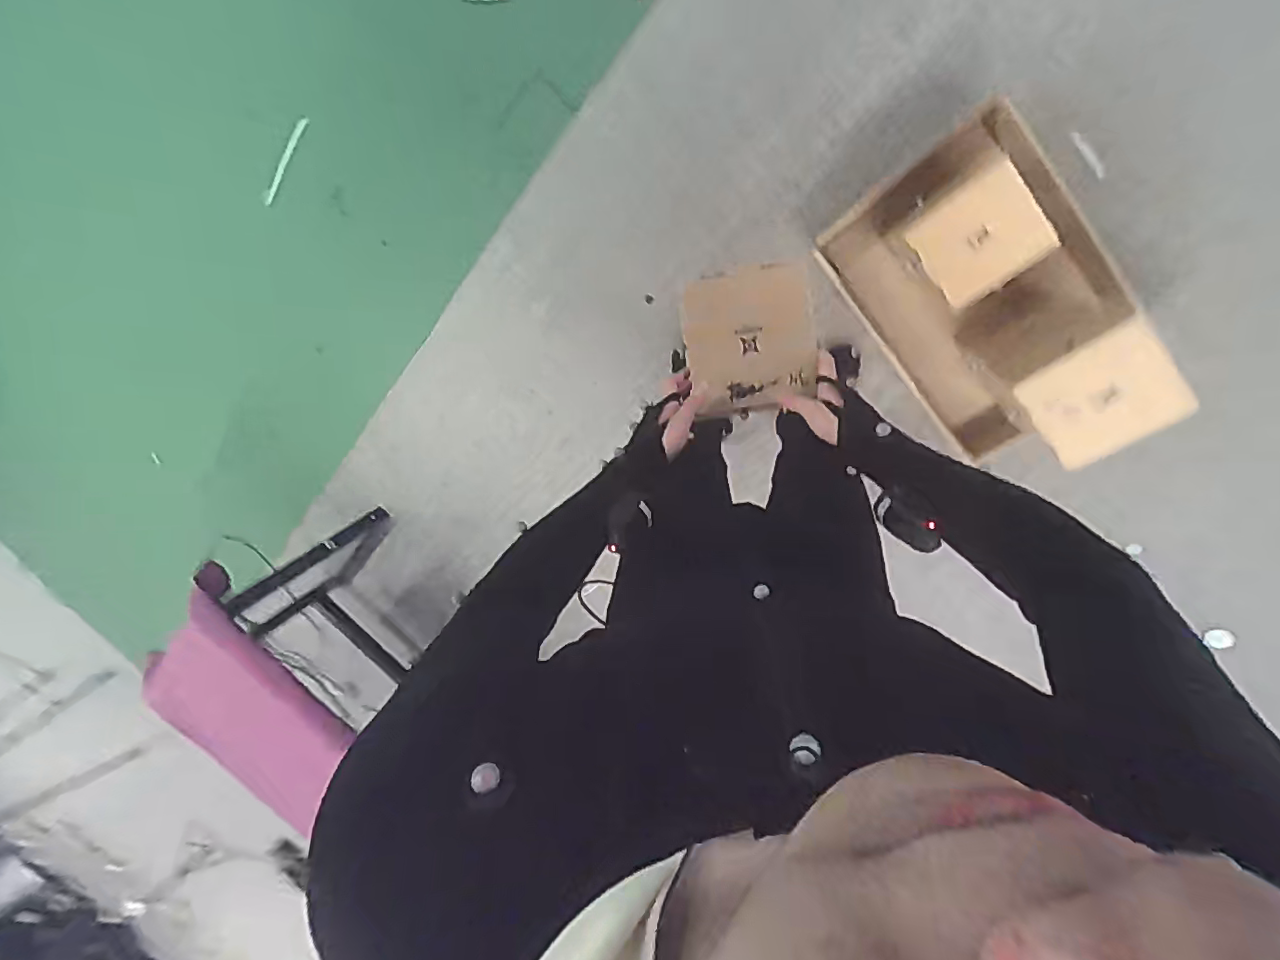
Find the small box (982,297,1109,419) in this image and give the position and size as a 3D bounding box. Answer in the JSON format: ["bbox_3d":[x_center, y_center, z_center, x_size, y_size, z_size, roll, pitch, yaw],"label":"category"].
[{"bbox_3d":[0.766,-0.217,0.999,0.179,0.176,0.168,-33,98,27],"label":"small box"}]

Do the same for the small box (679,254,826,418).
[{"bbox_3d":[0.146,-0.188,0.758,0.168,0.176,0.179,-9,93,6],"label":"small box"}]

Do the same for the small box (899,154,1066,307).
[{"bbox_3d":[0.593,-0.438,0.962,0.179,0.176,0.168,-35,99,28],"label":"small box"}]

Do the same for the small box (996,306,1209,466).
[{"bbox_3d":[0.712,-0.156,0.857,0.179,0.176,0.168,-35,96,28],"label":"small box"}]
